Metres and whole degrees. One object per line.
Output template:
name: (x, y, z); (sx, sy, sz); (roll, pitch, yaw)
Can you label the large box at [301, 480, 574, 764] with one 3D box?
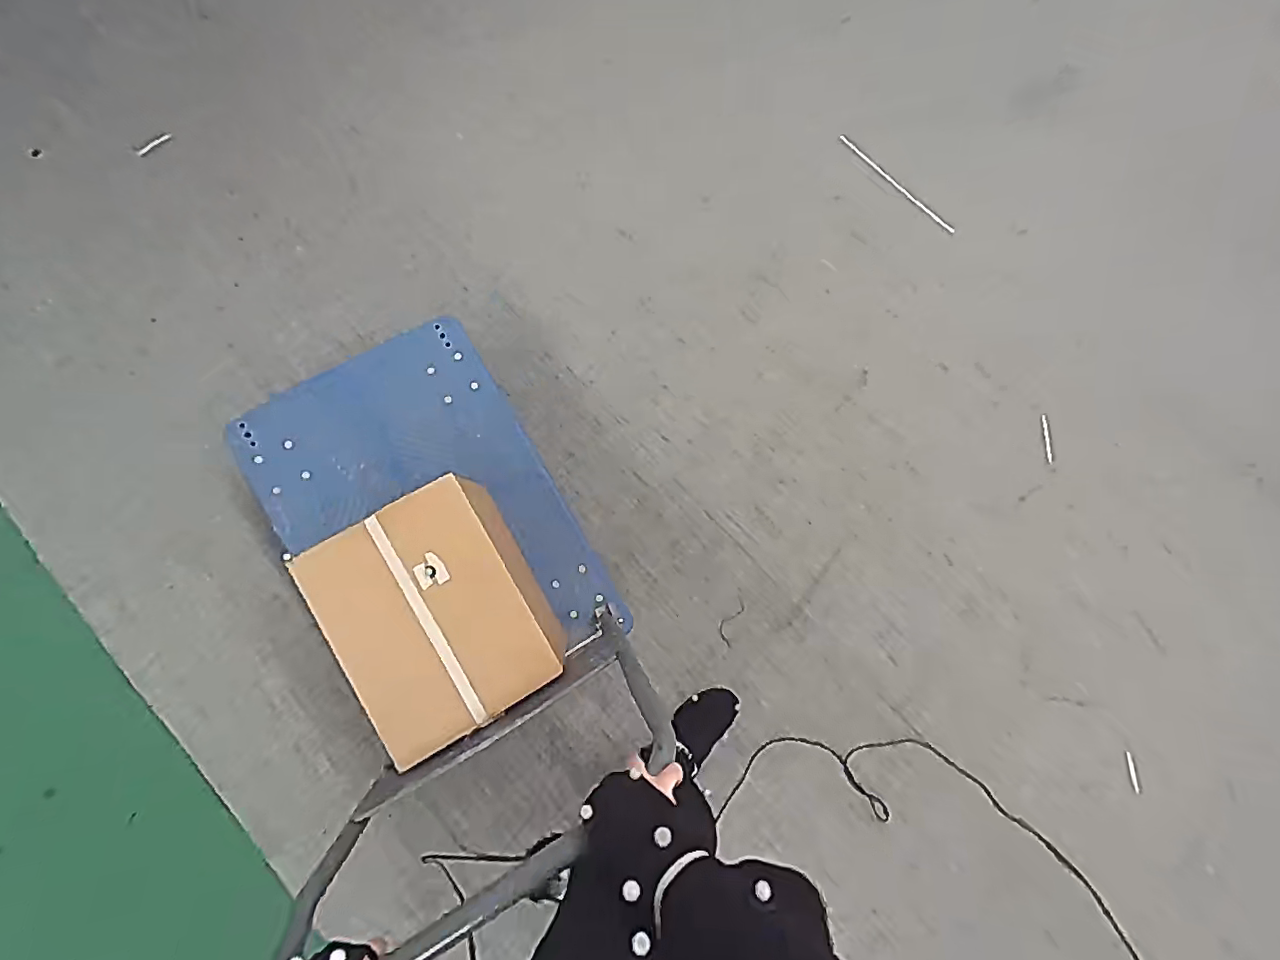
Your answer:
large box: (-0.368, 0.260, 1.093); (0.320, 0.320, 0.408); (-31, 87, -9)
